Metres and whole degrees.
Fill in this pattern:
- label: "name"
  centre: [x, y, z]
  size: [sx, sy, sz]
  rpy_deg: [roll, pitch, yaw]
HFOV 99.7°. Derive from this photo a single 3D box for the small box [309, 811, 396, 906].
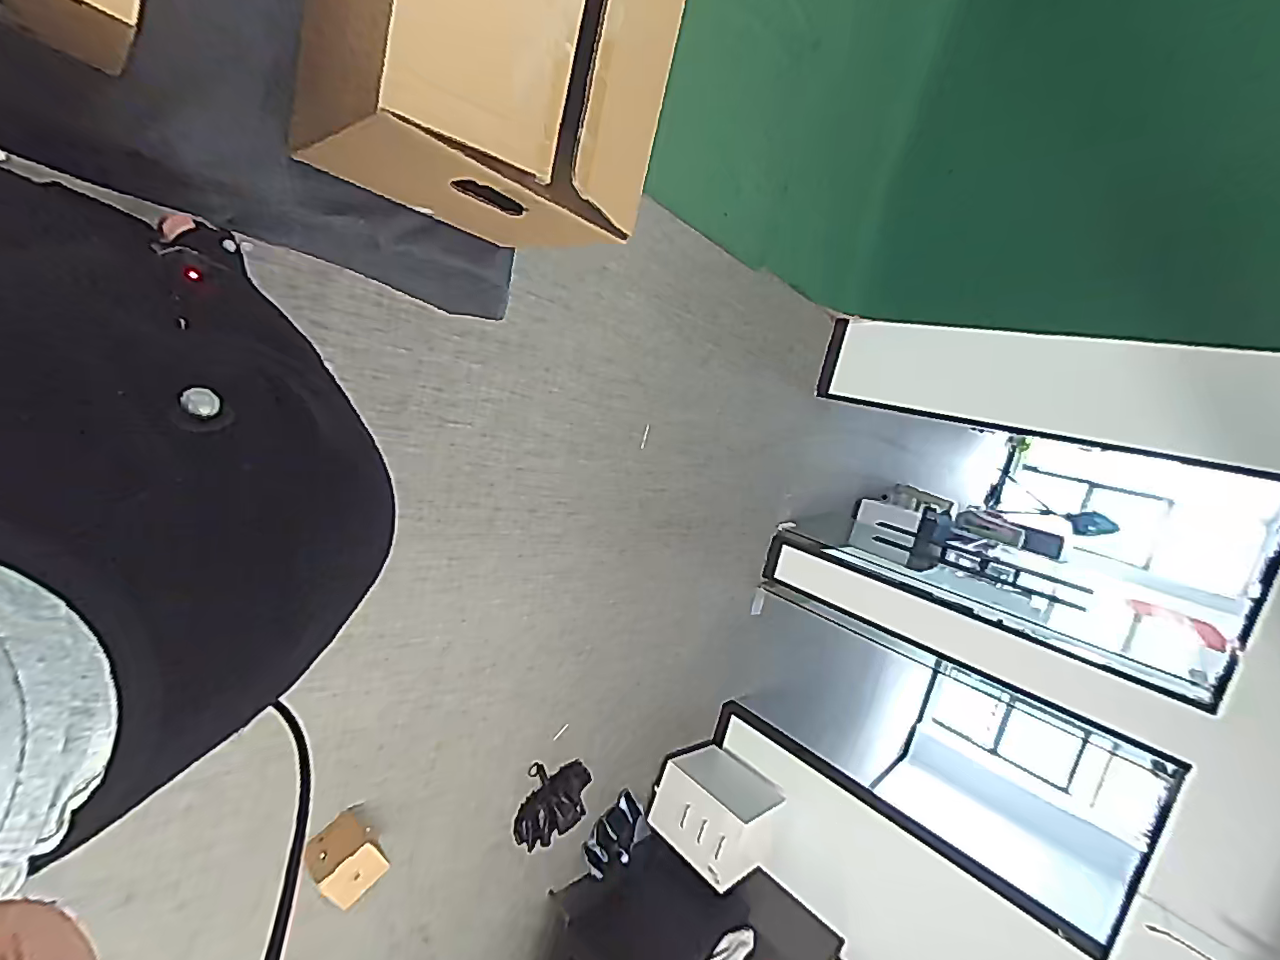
- label: "small box"
  centre: [-0.944, 1.231, 1.774]
  size: [0.168, 0.176, 0.179]
  rpy_deg: [-37, 132, -31]
